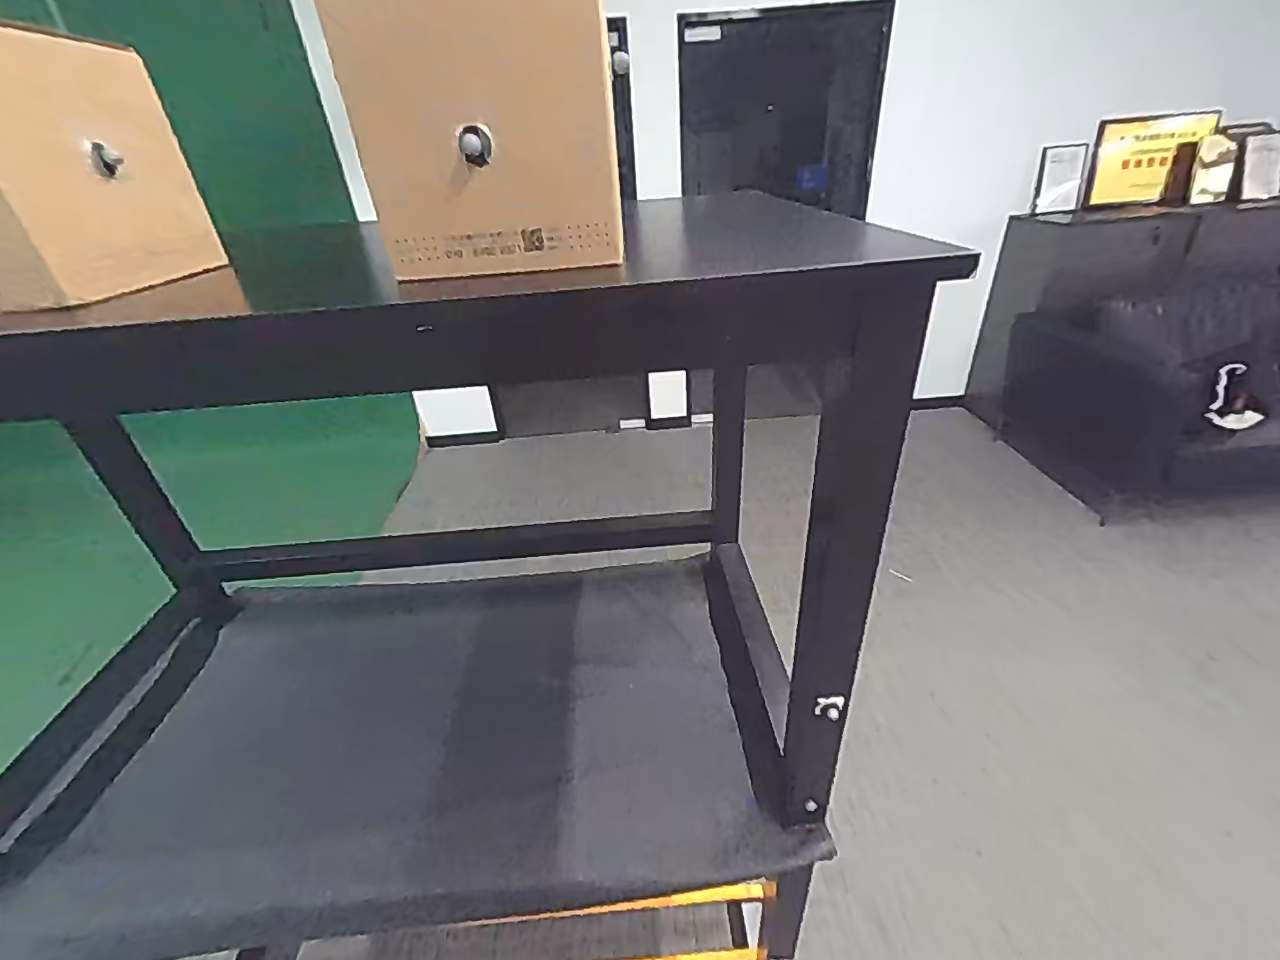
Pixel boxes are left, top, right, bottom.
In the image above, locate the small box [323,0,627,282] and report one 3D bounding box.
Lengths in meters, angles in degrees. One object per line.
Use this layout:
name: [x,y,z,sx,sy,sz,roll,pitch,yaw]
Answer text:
small box: [-0.098,-0.255,0.420,0.168,0.176,0.179,-4,31,1]
